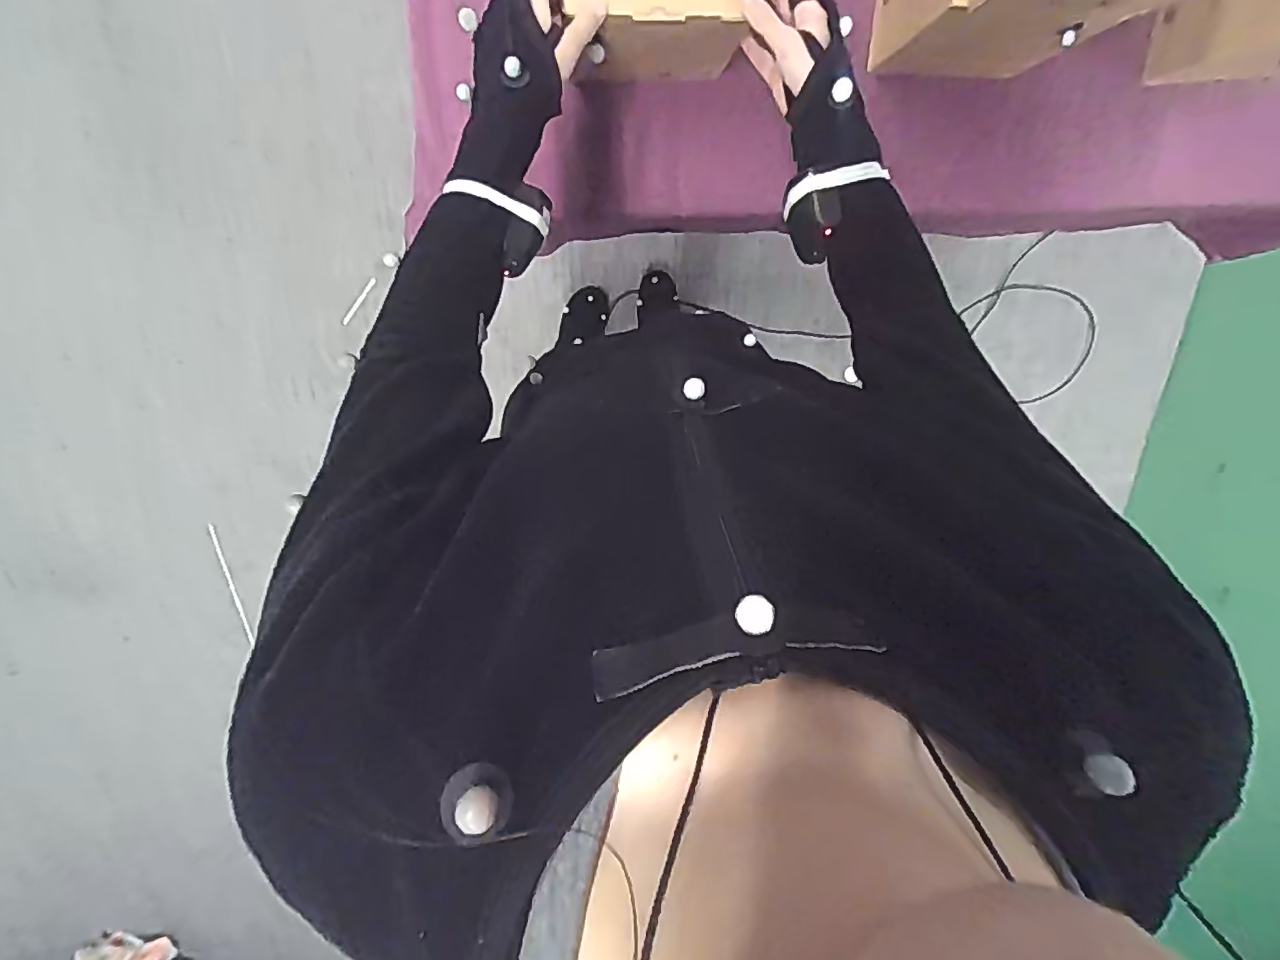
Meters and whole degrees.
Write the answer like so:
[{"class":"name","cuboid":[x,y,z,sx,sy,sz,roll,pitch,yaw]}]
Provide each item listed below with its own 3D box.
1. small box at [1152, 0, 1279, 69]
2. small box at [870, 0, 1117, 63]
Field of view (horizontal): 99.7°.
[{"class":"small box","cuboid":[0.670,-0.529,0.527,0.179,0.176,0.168,-5,111,-1]},{"class":"small box","cuboid":[0.344,-0.522,0.511,0.179,0.176,0.168,-2,111,-4]}]
